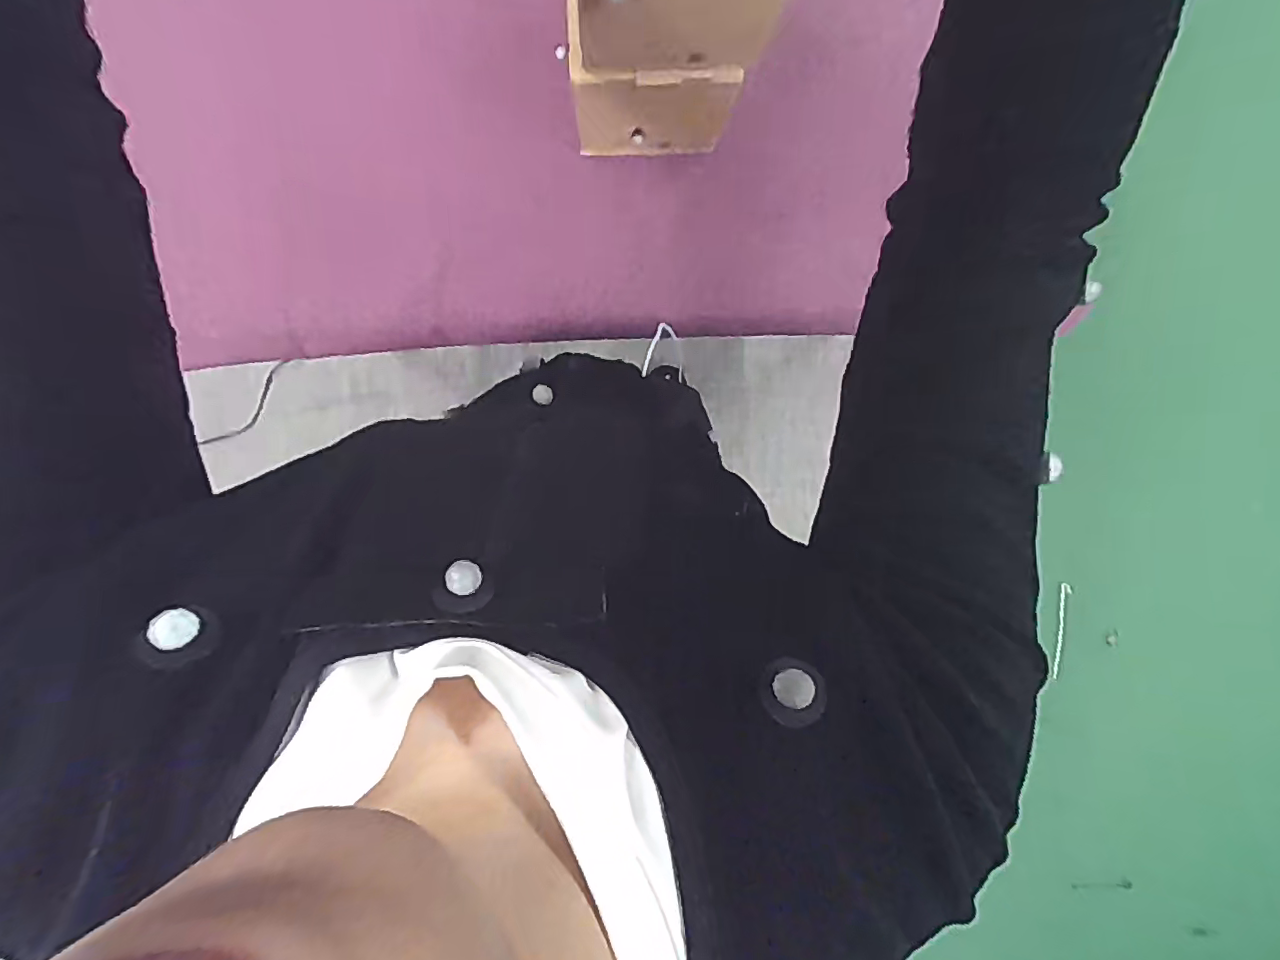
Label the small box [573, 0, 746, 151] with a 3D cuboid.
[{"bbox_3d":[0.013,-0.482,0.577,0.168,0.176,0.179,-3,101,-3],"label":"small box"}]
